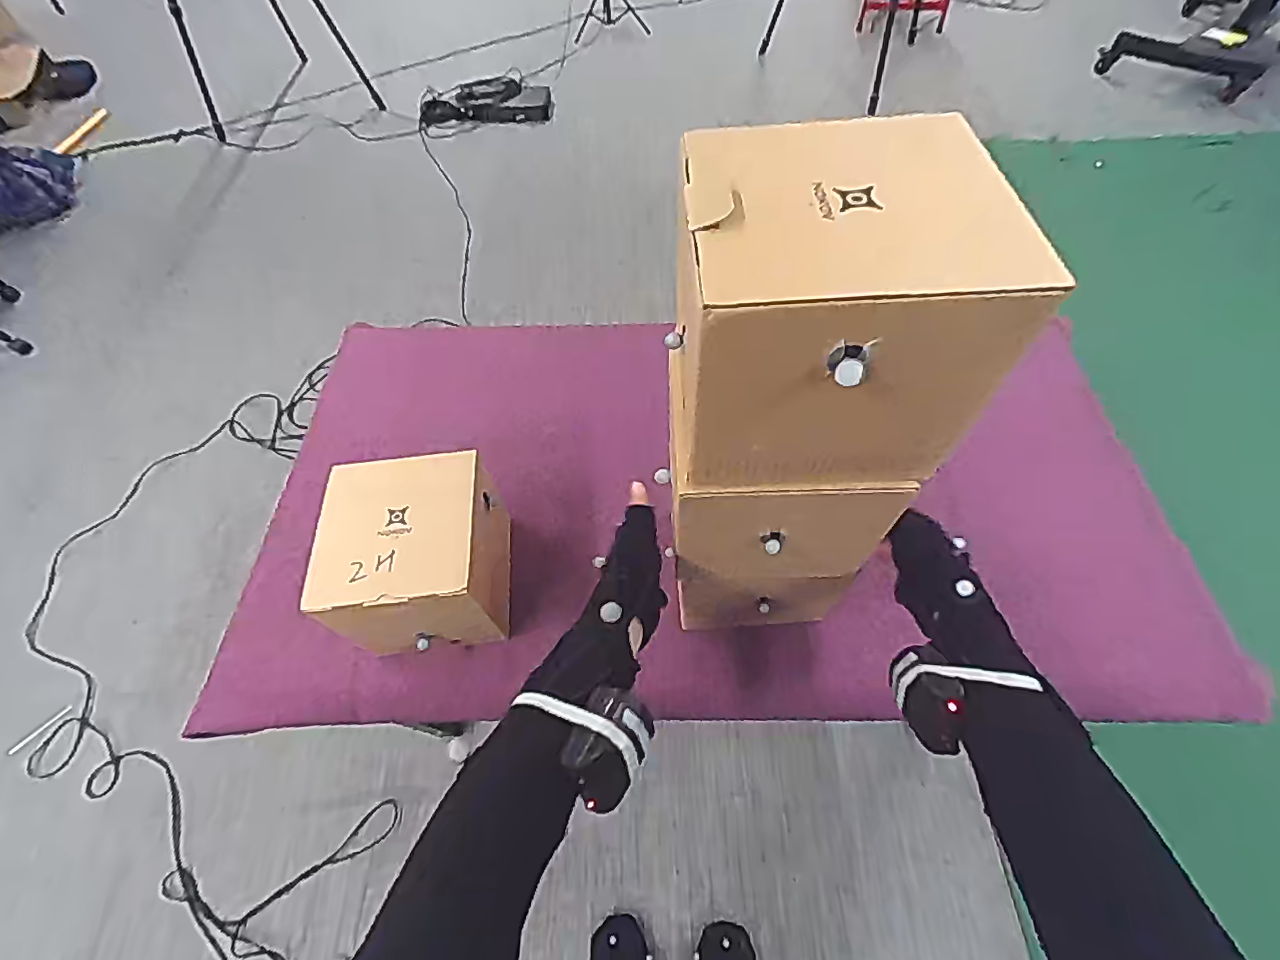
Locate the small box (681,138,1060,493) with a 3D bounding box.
[{"bbox_3d":[0.121,-0.102,0.372,0.179,0.176,0.168,-2,58,2],"label":"small box"}]

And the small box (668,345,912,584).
[{"bbox_3d":[0.117,-0.009,0.505,0.179,0.176,0.168,-1,58,2],"label":"small box"}]

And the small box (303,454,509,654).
[{"bbox_3d":[-0.257,0.091,0.644,0.168,0.176,0.179,-6,58,-2],"label":"small box"}]
